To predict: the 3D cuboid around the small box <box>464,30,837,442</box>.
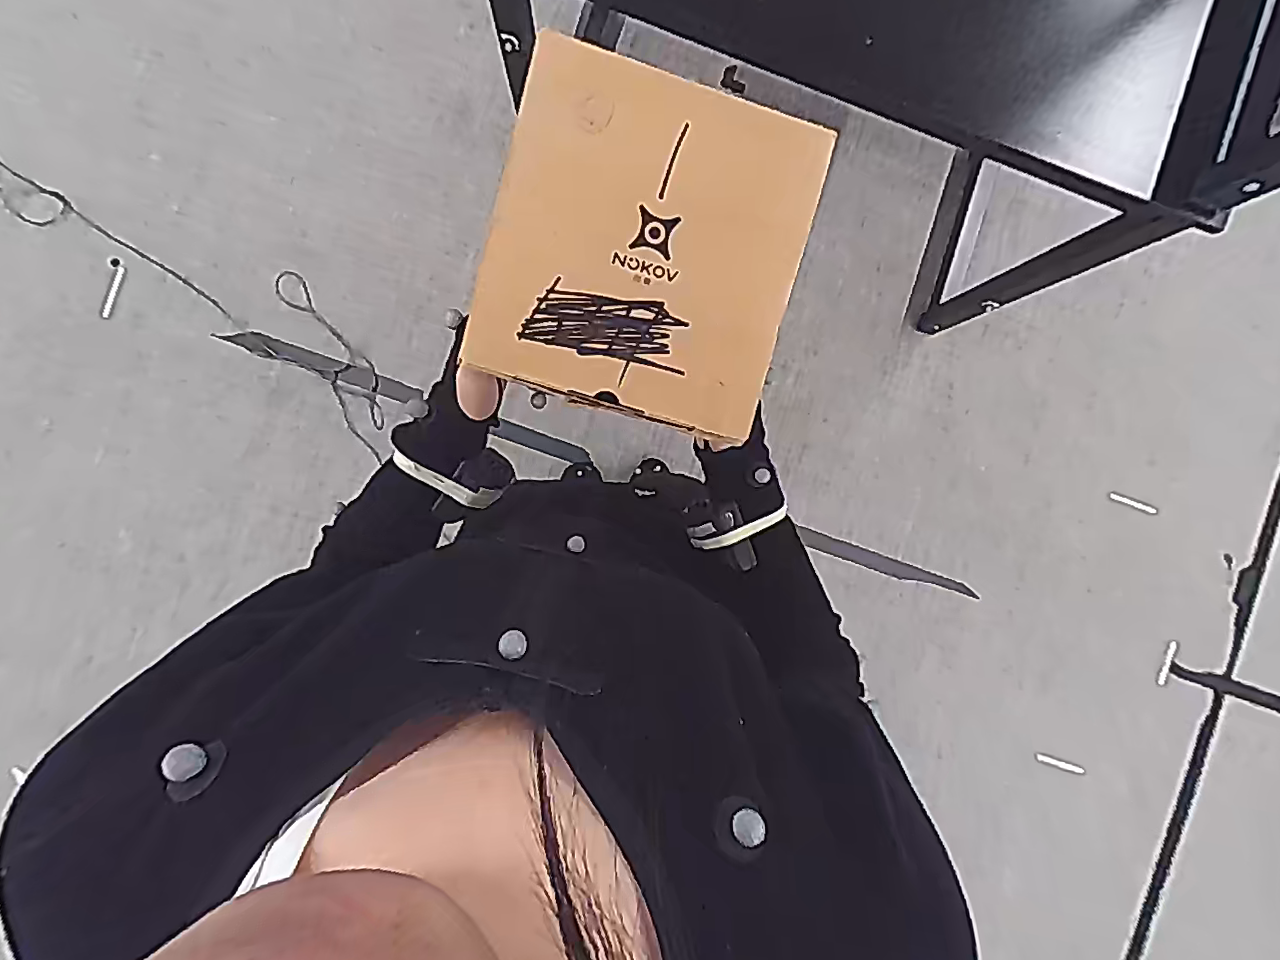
[{"bbox_3d":[0.000,-0.134,0.368,0.168,0.176,0.179,15,95,-6],"label":"small box"}]
